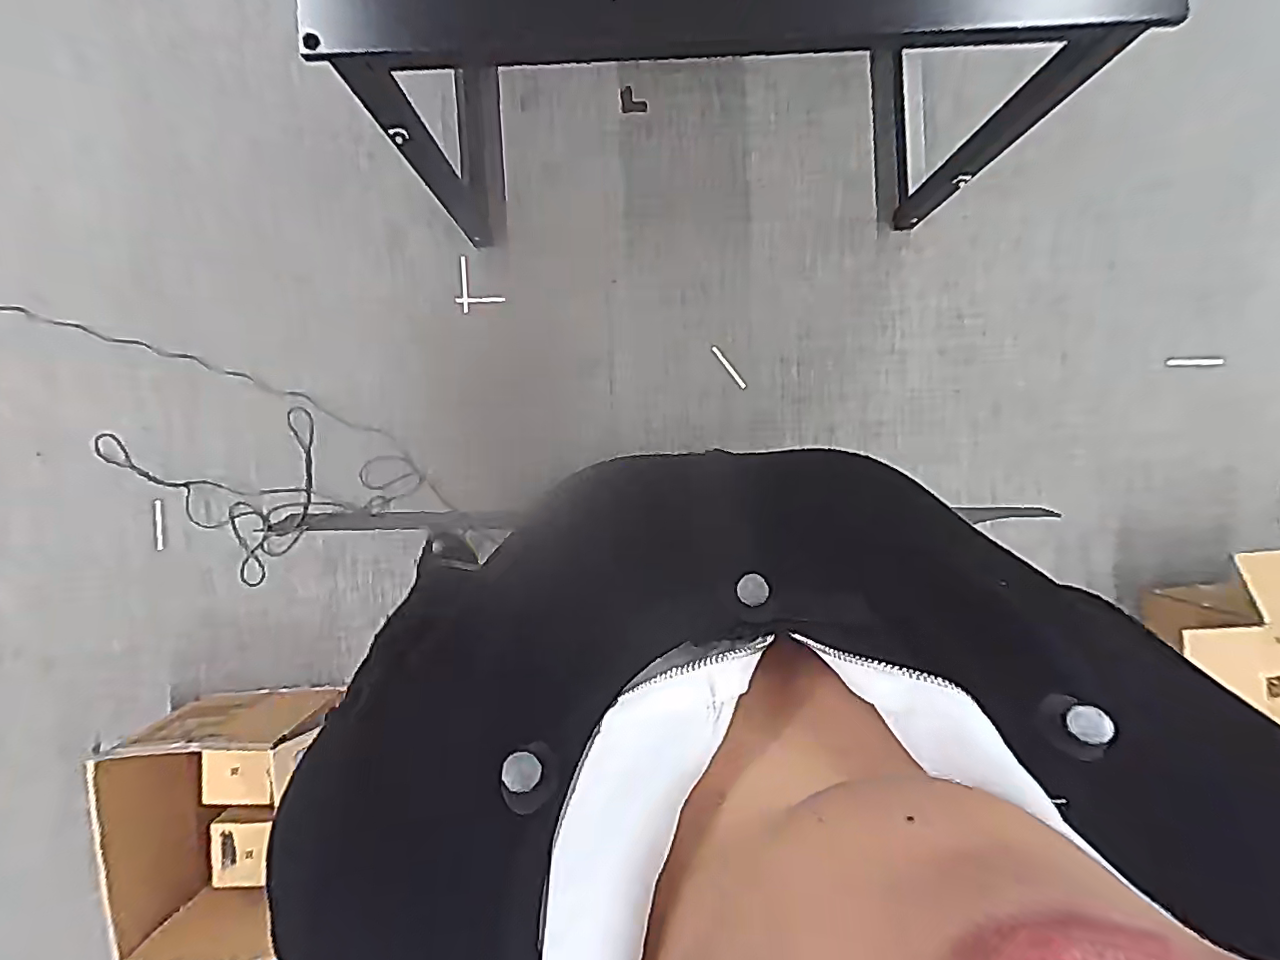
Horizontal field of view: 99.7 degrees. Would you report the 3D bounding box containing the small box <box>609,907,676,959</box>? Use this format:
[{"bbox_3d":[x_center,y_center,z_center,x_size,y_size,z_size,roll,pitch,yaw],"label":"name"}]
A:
[{"bbox_3d":[0.001,1.268,1.420,0.168,0.176,0.179,3,90,-1],"label":"small box"}]
